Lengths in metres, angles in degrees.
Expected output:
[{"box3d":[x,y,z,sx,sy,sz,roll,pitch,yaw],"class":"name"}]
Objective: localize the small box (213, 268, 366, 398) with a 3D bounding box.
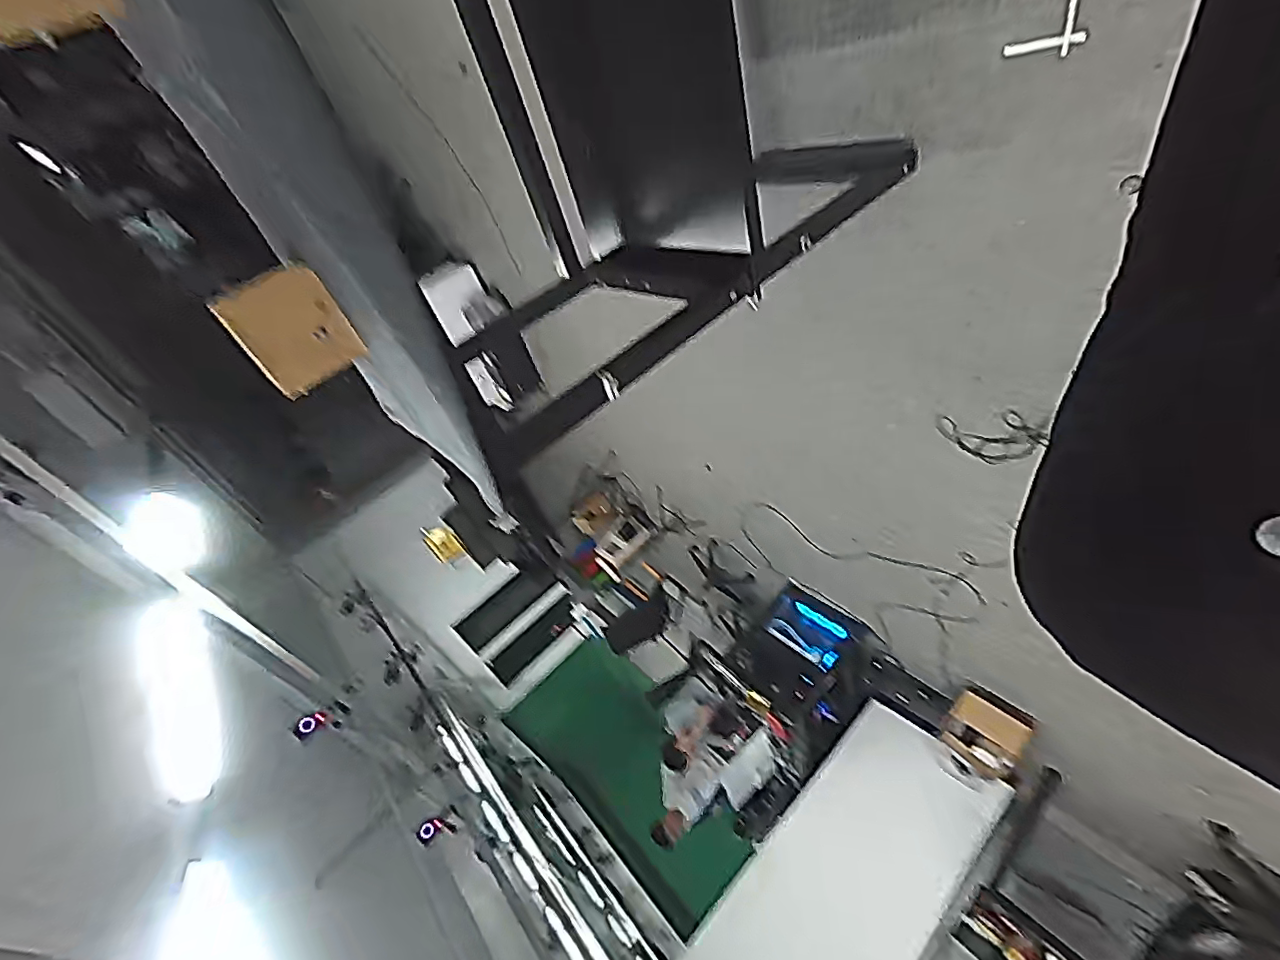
[{"box3d":[-0.651,-0.283,1.016,0.179,0.176,0.168,26,149,44],"class":"small box"}]
